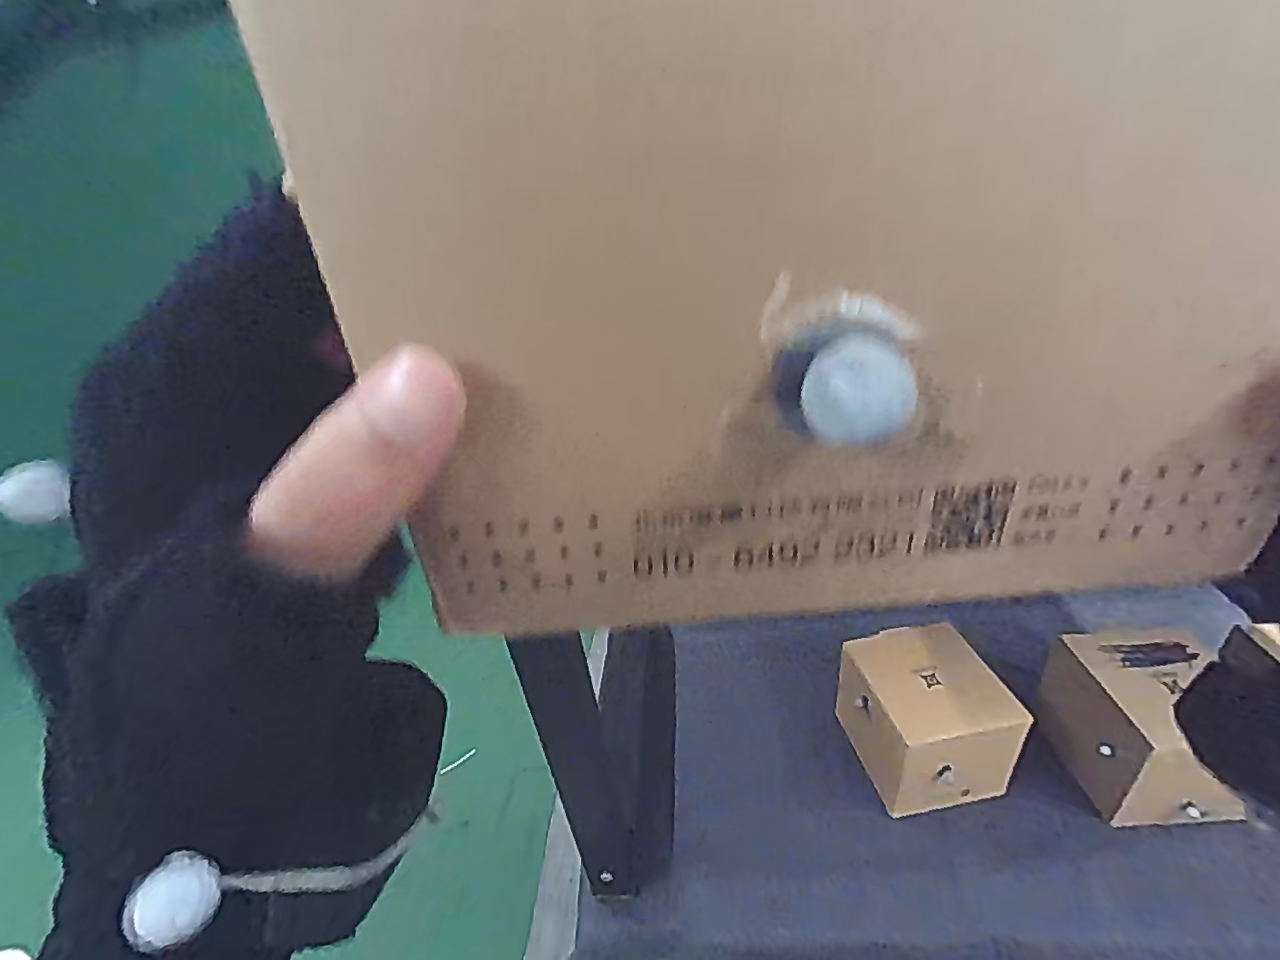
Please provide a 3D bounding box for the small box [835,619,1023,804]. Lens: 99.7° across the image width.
[{"bbox_3d":[0.396,0.334,0.777,0.168,0.176,0.179,-10,30,-3],"label":"small box"}]
